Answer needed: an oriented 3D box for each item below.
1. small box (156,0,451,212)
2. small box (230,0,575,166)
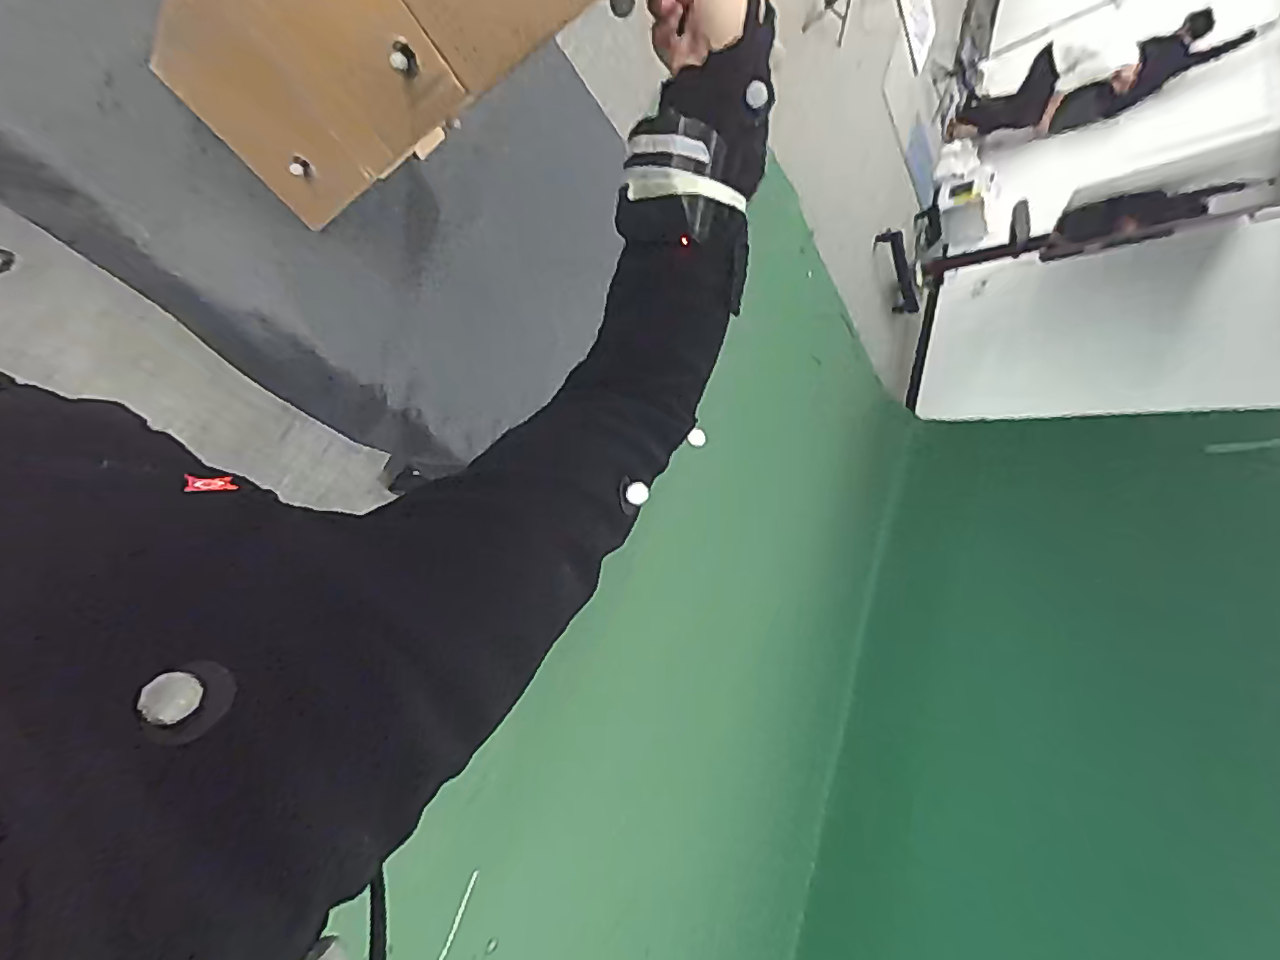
[{"bbox_3d":[-0.314,-0.392,0.528,0.179,0.176,0.168,49,57,-36],"label":"small box"},{"bbox_3d":[-0.192,-0.391,0.421,0.179,0.176,0.168,50,56,-38],"label":"small box"}]
